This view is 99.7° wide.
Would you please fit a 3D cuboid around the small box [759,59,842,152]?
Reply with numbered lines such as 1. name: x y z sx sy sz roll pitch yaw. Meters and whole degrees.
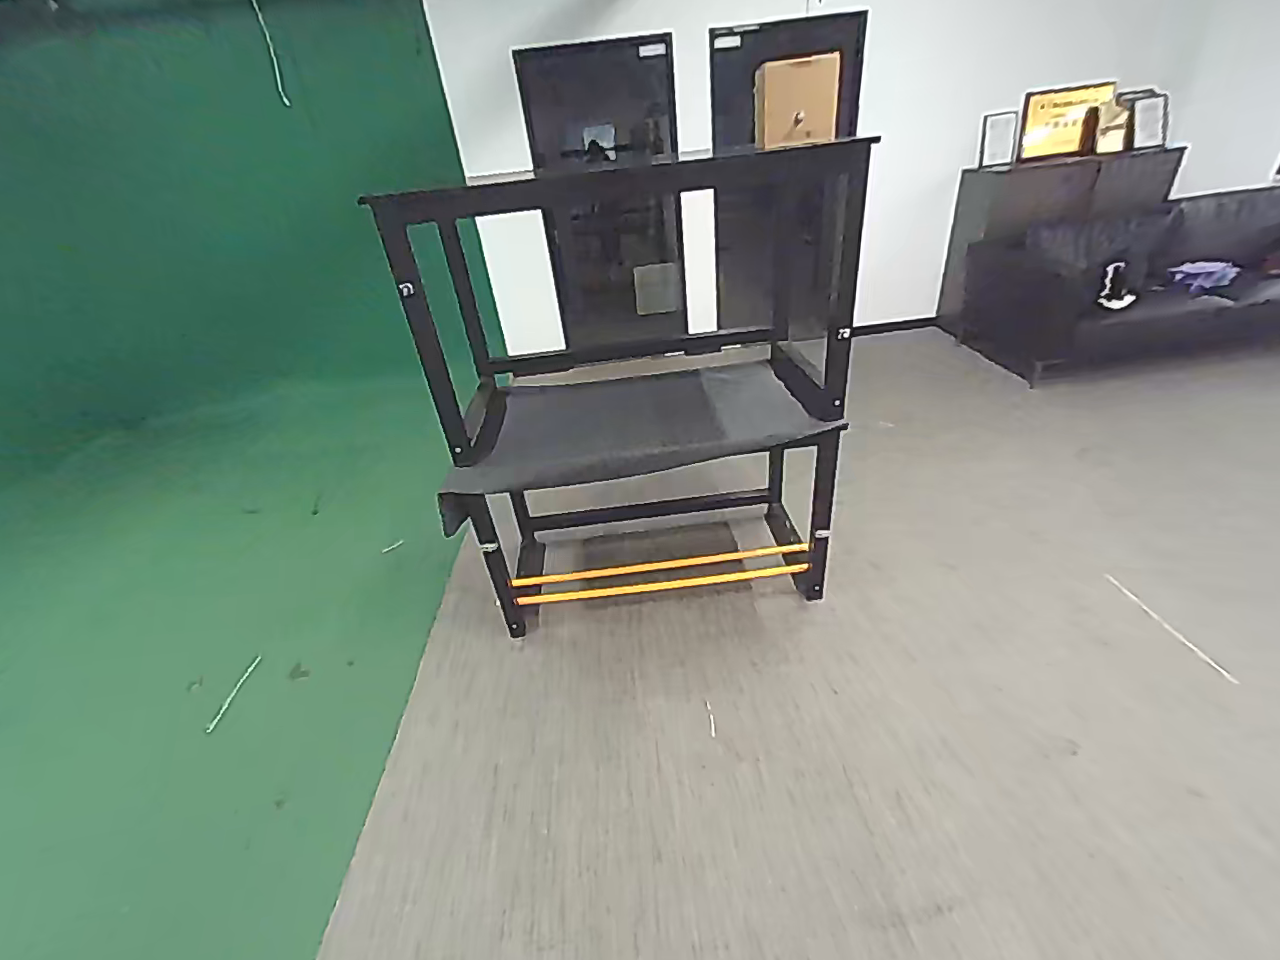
1. small box: 0.385 -0.909 1.326 0.168 0.176 0.179 -4 32 6
